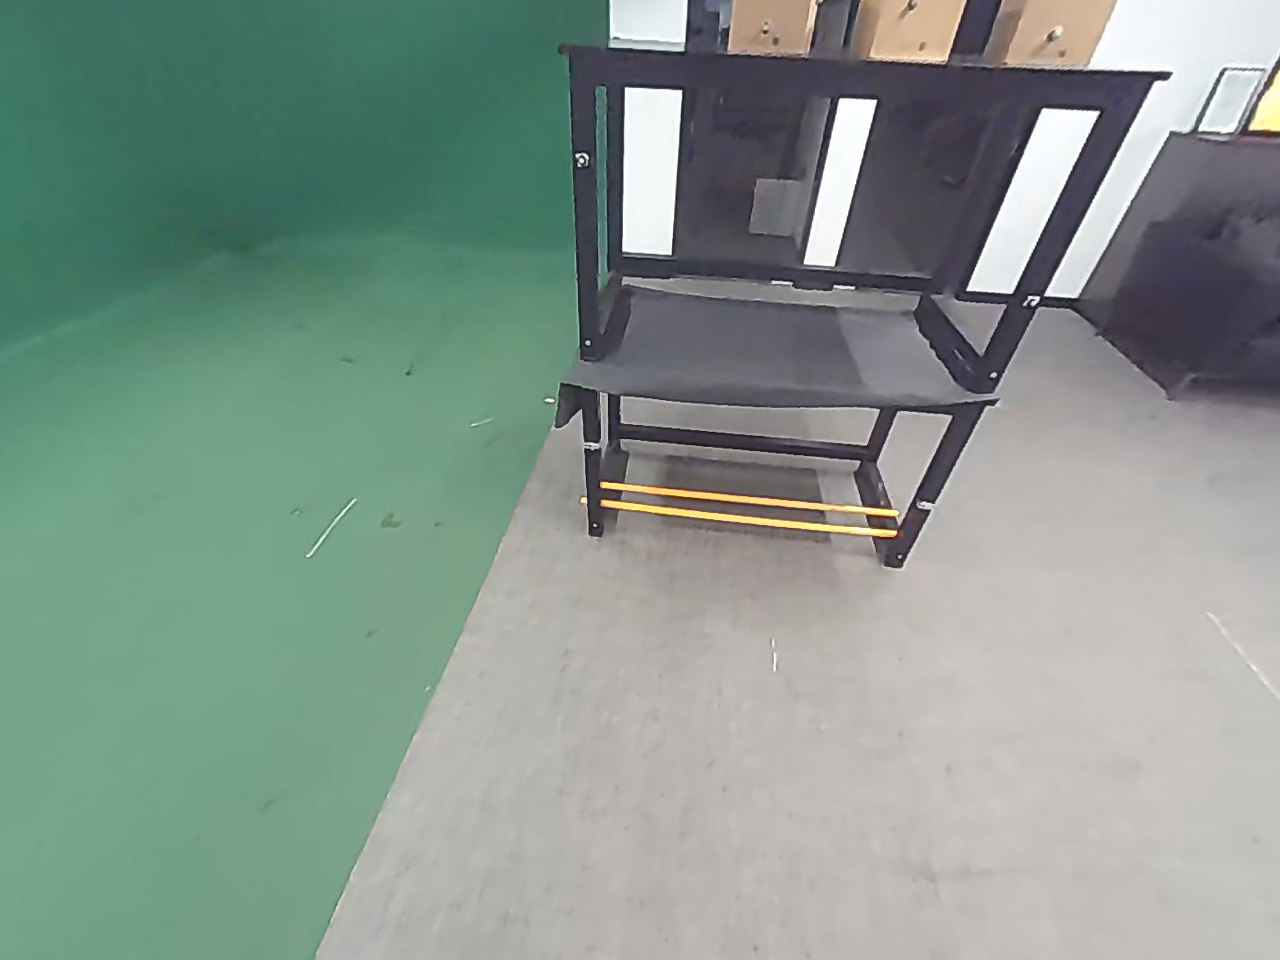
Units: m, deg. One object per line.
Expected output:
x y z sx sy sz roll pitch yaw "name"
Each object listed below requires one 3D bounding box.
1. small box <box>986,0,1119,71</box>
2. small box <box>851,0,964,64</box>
0.864 -0.975 1.136 0.168 0.176 0.179 8 41 8 "small box"
0.572 -0.997 1.152 0.168 0.176 0.179 2 39 0 "small box"
